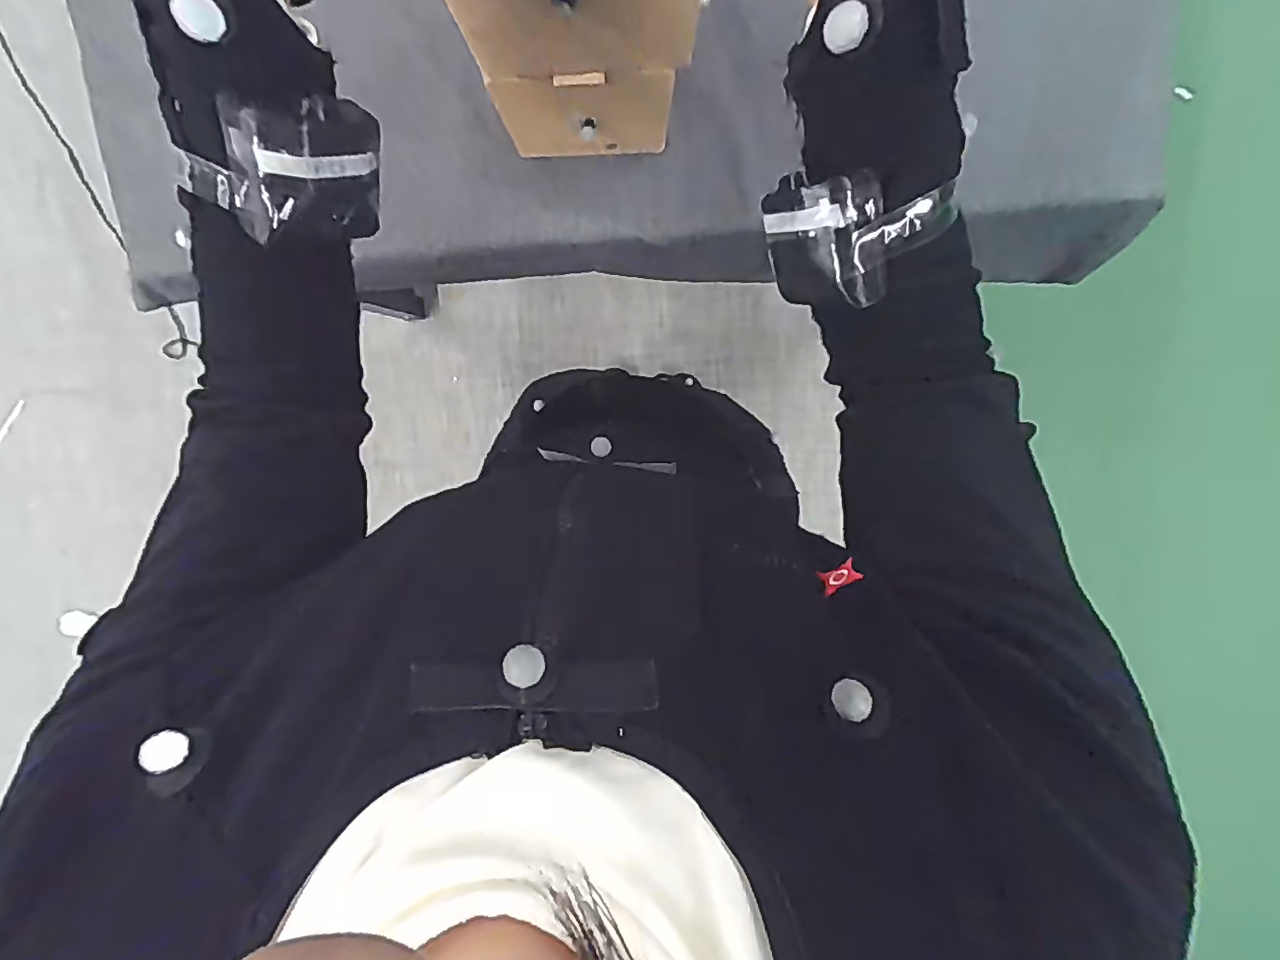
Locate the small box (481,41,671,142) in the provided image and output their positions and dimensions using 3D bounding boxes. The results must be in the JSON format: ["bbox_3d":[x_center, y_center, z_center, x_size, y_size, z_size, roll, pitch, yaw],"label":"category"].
[{"bbox_3d":[-0.055,-0.447,0.519,0.168,0.176,0.179,-3,102,1],"label":"small box"}]

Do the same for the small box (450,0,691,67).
[{"bbox_3d":[-0.051,-0.412,0.357,0.179,0.176,0.168,-3,101,2],"label":"small box"}]
